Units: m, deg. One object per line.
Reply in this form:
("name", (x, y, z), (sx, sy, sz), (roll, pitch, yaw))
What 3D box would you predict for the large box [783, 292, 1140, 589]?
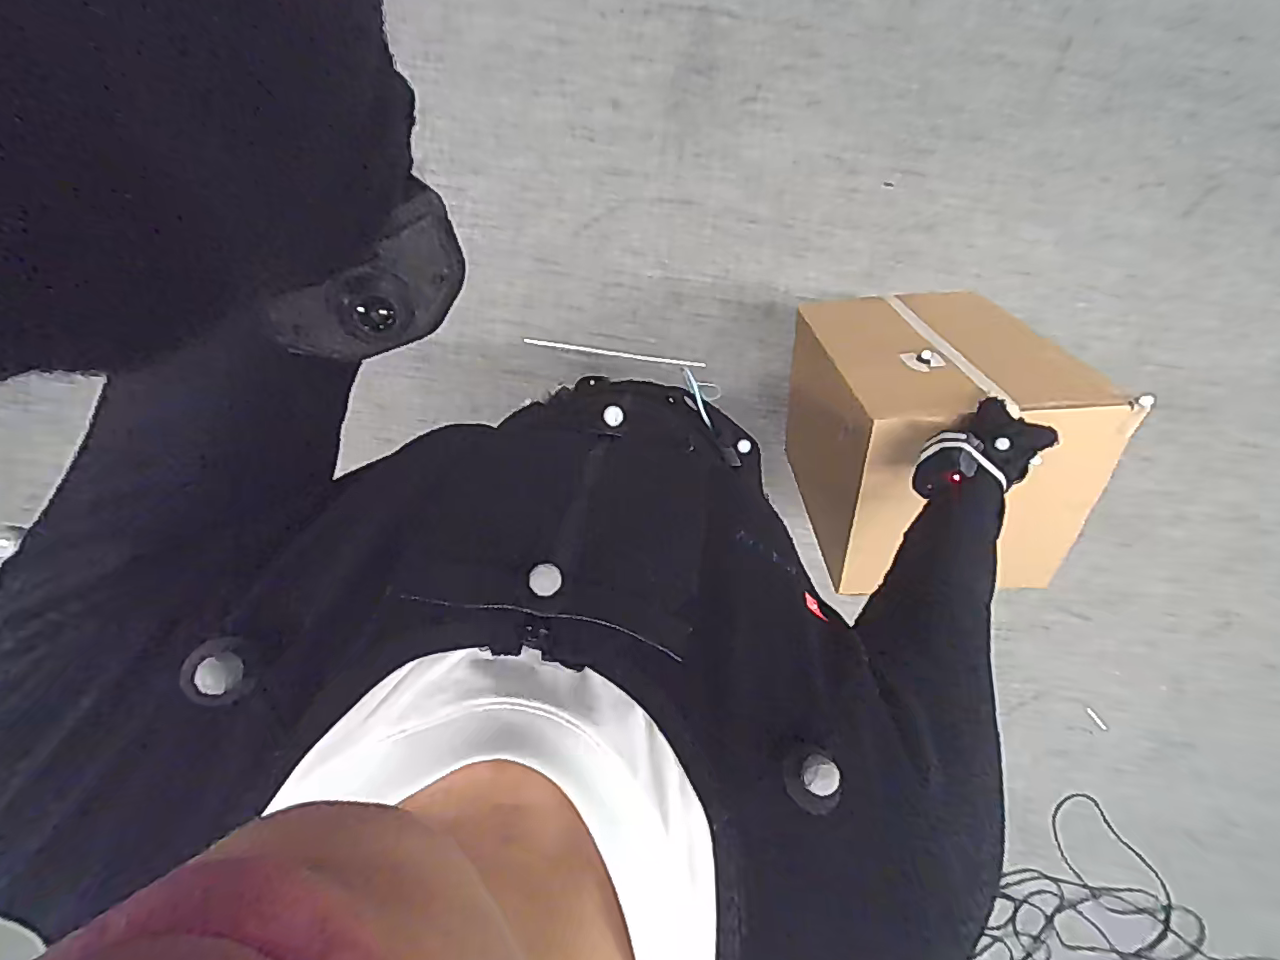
("large box", (0.443, -0.080, 0.884), (0.320, 0.408, 0.320), (-4, 128, 3))
